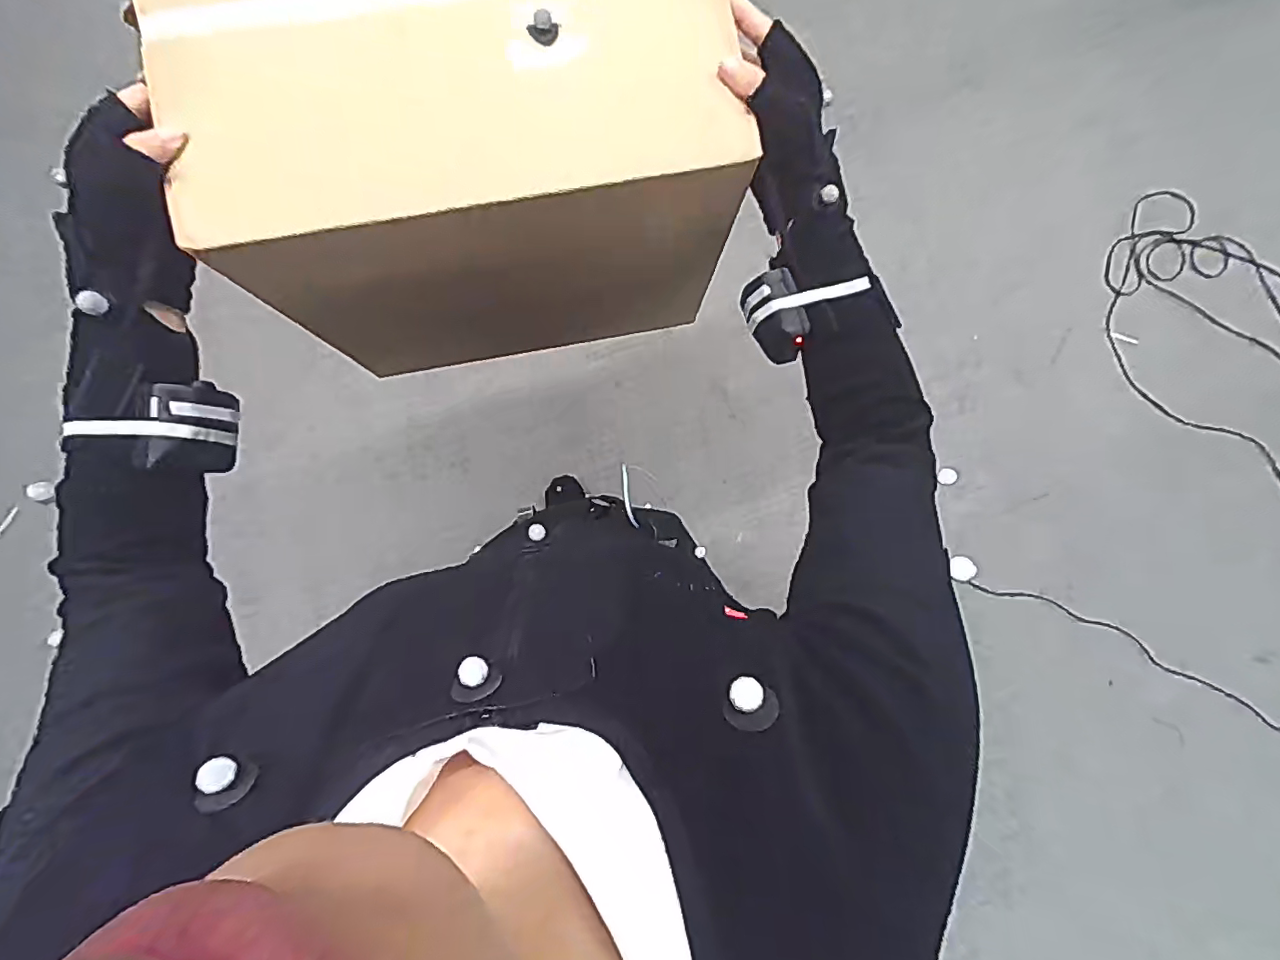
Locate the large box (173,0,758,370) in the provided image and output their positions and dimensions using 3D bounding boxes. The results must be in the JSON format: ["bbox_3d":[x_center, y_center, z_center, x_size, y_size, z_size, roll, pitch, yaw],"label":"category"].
[{"bbox_3d":[-0.146,-0.335,0.547,0.408,0.320,0.320,-11,86,-5],"label":"large box"}]
